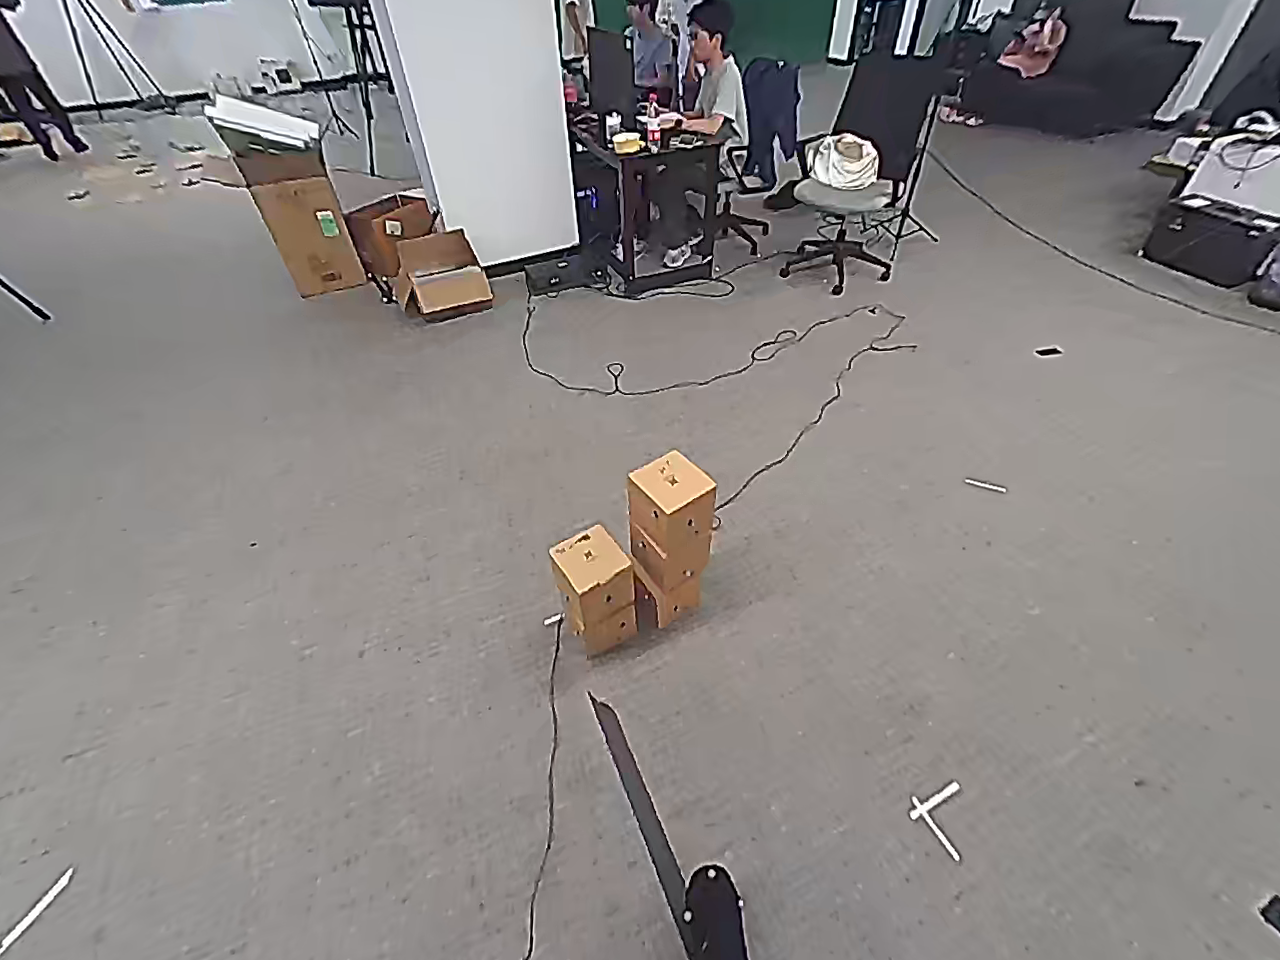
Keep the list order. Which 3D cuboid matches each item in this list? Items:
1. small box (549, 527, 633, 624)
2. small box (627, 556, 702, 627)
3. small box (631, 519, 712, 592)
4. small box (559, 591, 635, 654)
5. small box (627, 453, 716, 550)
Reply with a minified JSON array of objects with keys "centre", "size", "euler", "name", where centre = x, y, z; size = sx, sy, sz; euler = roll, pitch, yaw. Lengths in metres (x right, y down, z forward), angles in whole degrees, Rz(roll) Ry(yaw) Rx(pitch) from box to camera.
[{"centre":[-0.130,0.270,1.490],"size":[0.168,0.176,0.179],"euler":[-25,49,-22],"name":"small box"},{"centre":[0.072,0.317,1.665],"size":[0.168,0.176,0.179],"euler":[-27,50,-22],"name":"small box"},{"centre":[0.086,0.188,1.561],"size":[0.168,0.176,0.179],"euler":[-26,50,-21],"name":"small box"},{"centre":[-0.123,0.391,1.602],"size":[0.168,0.176,0.179],"euler":[-23,47,-20],"name":"small box"},{"centre":[0.084,0.064,1.452],"size":[0.168,0.176,0.179],"euler":[-28,50,-24],"name":"small box"}]
